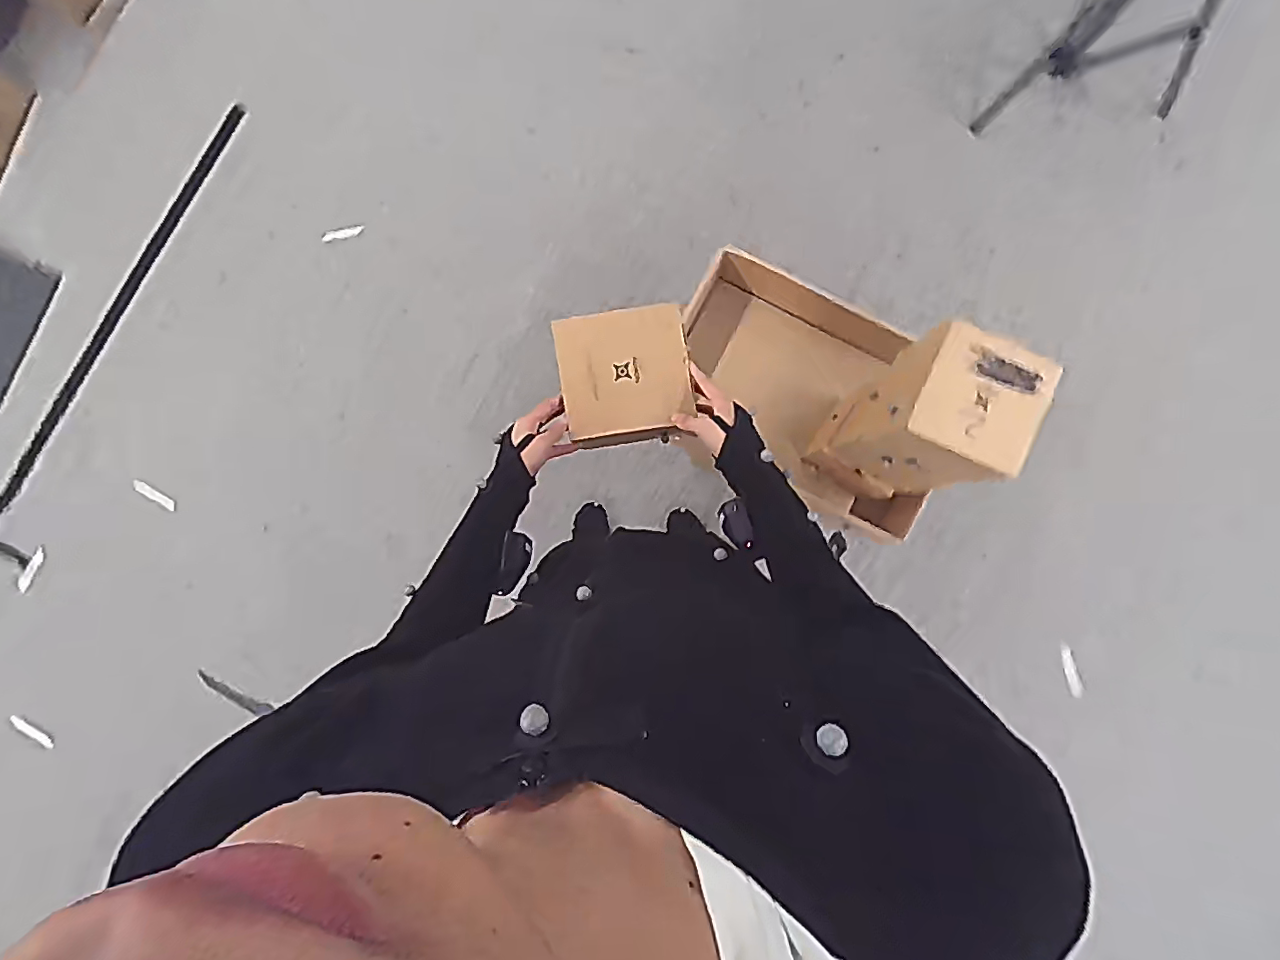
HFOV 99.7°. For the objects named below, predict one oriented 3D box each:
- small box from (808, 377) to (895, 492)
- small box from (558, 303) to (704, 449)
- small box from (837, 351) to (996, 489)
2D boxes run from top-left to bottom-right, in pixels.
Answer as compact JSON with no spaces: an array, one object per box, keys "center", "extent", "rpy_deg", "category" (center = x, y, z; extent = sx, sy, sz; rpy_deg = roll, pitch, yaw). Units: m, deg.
[{"center":[0.483,-0.086,1.154],"extent":[0.168,0.176,0.179],"rpy_deg":[36,87,2],"category":"small box"},{"center":[-0.014,-0.143,0.797],"extent":[0.179,0.176,0.168],"rpy_deg":[-10,89,-1],"category":"small box"},{"center":[0.491,-0.100,0.991],"extent":[0.168,0.176,0.179],"rpy_deg":[32,87,3],"category":"small box"}]
